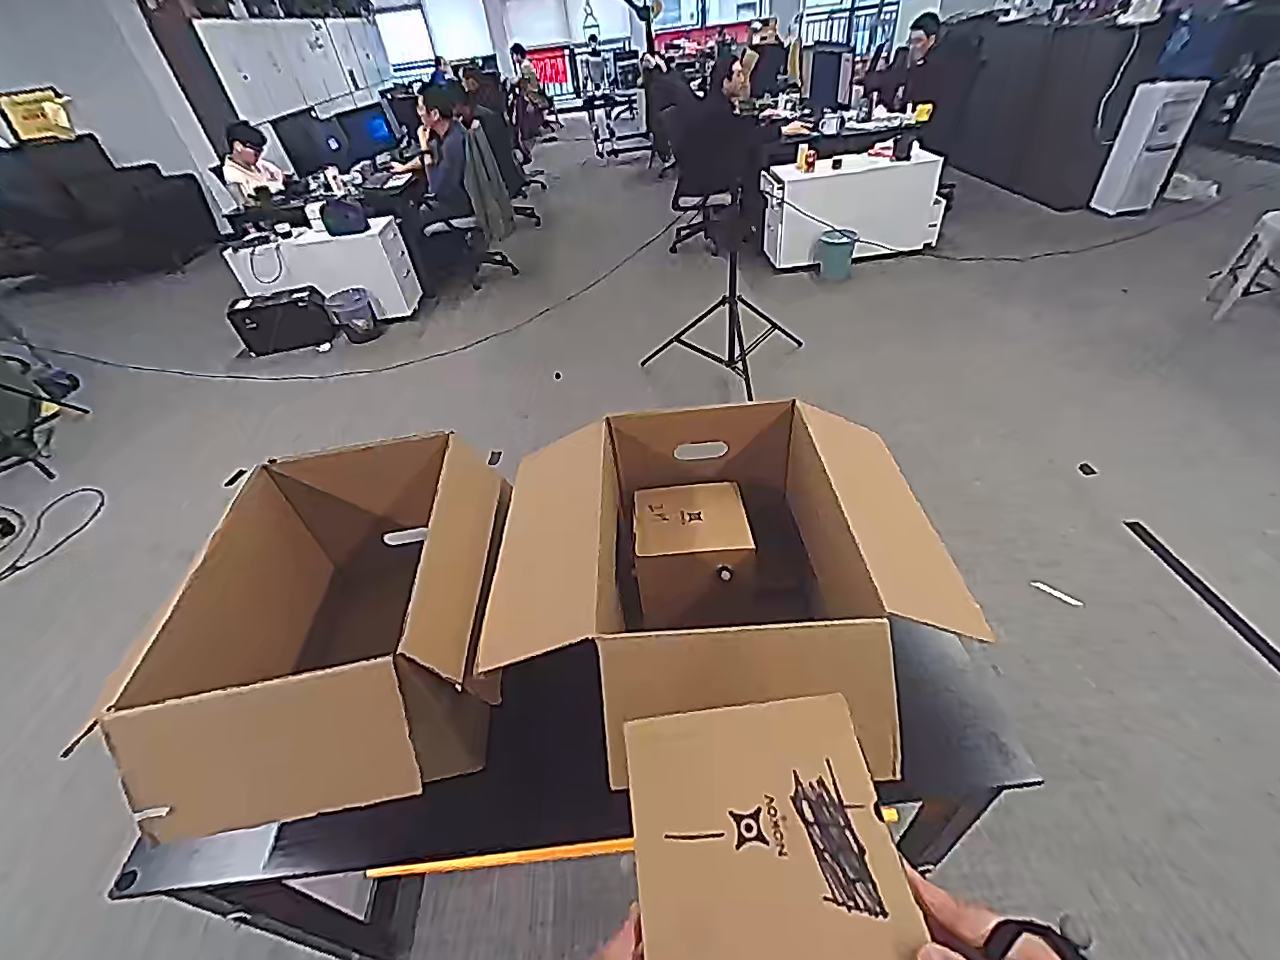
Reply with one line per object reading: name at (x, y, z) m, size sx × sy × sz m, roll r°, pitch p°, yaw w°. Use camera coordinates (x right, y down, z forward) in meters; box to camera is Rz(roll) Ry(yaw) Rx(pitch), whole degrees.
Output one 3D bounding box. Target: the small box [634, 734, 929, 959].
small box at (0.091, 0.319, 0.425) m, size 0.179 × 0.176 × 0.168 m, roll -6°, pitch 46°, yaw -1°
